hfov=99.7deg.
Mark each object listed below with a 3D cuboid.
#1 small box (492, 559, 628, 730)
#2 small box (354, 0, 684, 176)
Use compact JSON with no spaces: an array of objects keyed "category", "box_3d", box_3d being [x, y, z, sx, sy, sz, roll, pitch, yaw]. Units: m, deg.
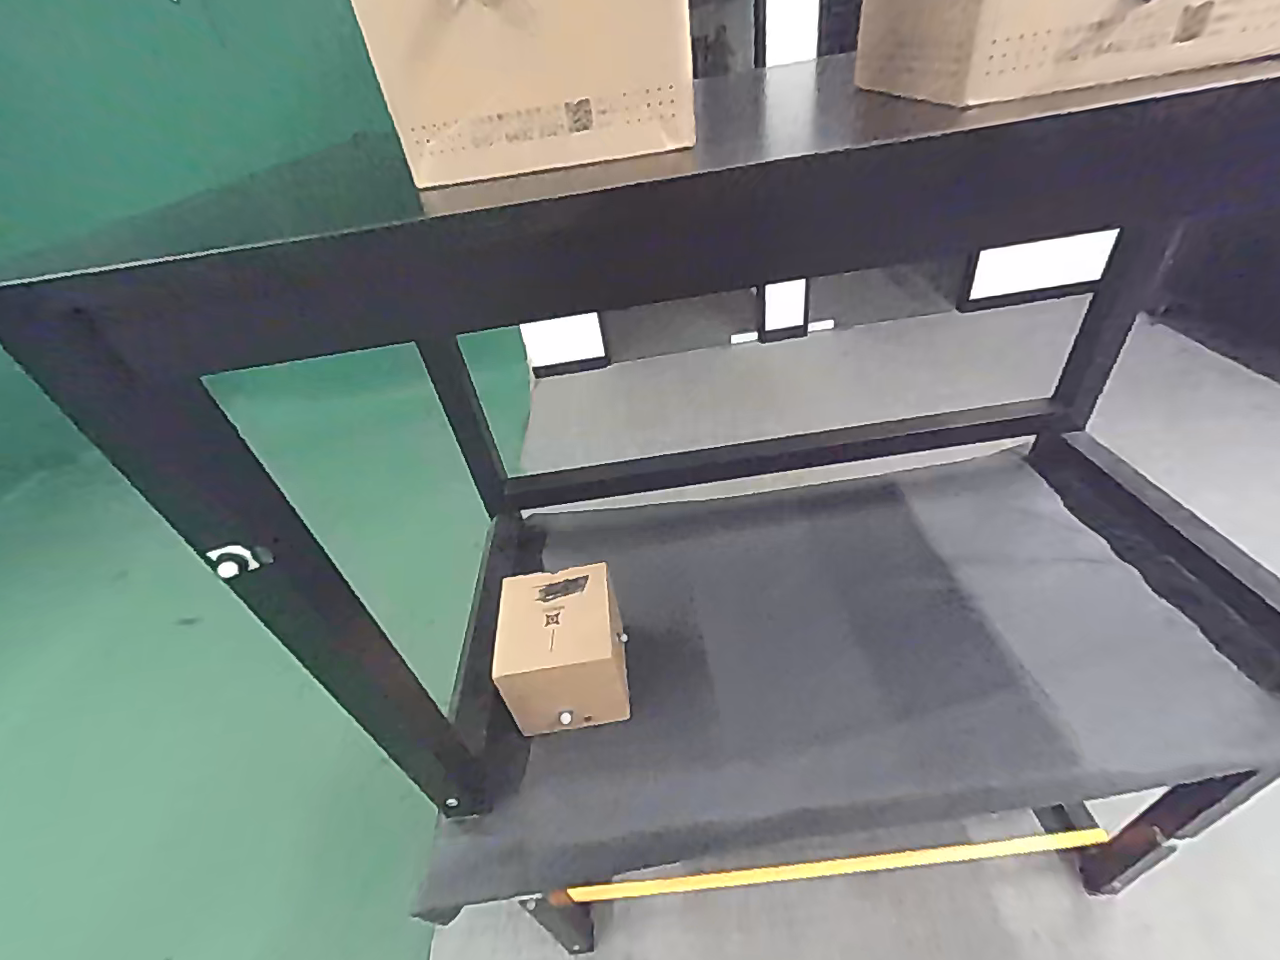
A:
[{"category":"small box","box_3d":[-0.114,0.251,0.830,0.168,0.176,0.179,-10,39,0]},{"category":"small box","box_3d":[-0.064,-0.299,0.331,0.168,0.176,0.179,-6,38,6]}]
